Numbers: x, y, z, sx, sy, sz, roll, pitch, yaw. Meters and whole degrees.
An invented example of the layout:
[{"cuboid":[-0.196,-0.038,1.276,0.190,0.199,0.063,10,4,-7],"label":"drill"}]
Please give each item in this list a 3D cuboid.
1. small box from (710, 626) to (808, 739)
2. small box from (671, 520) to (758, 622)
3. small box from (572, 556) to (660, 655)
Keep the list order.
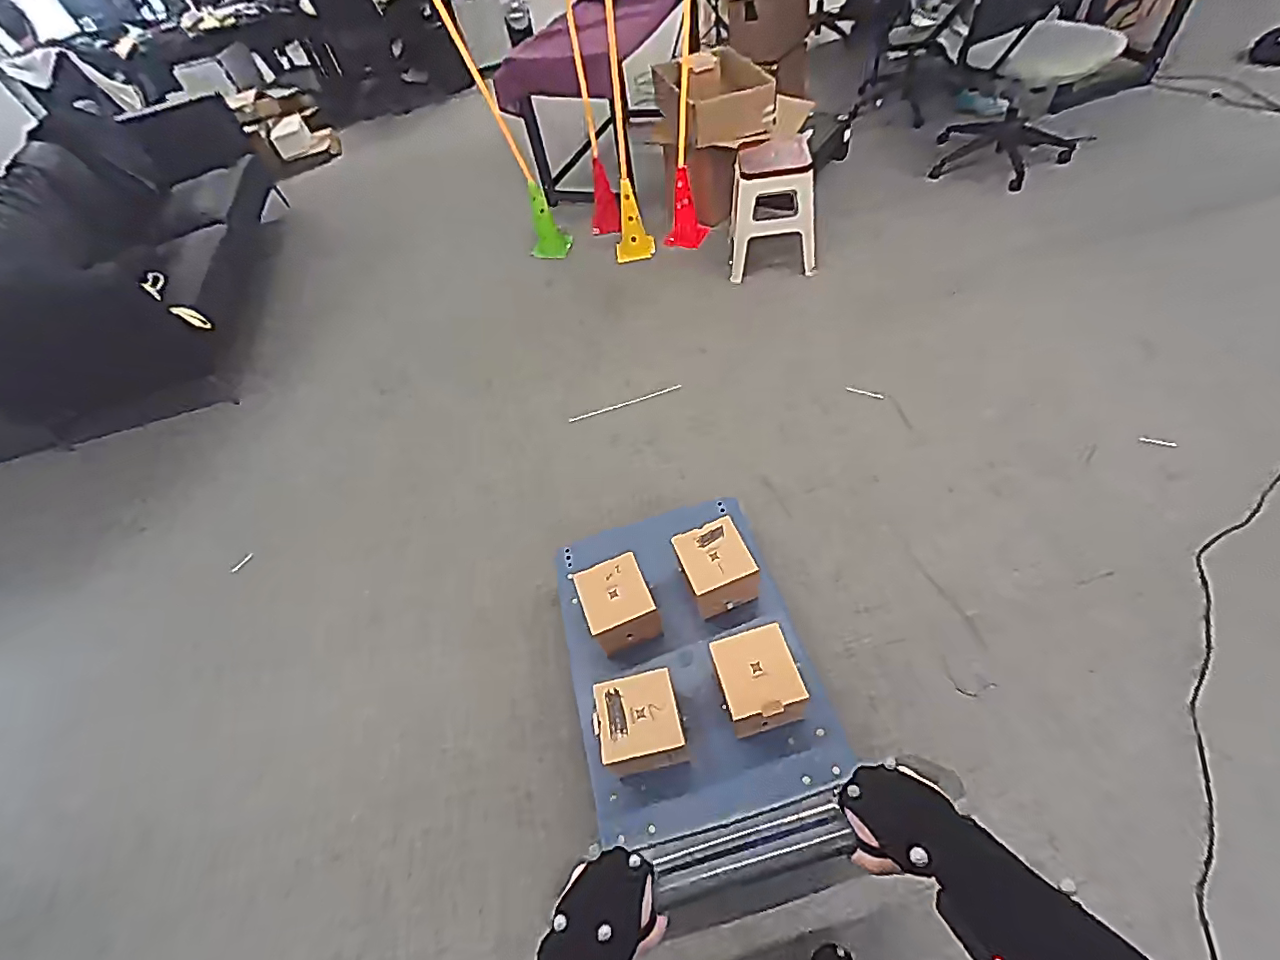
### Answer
[{"cuboid":[0.264,0.464,1.234,0.168,0.176,0.179,-17,53,-2],"label":"small box"},{"cuboid":[0.193,0.239,1.412,0.168,0.176,0.179,-21,53,-4],"label":"small box"},{"cuboid":[-0.056,0.331,1.392,0.168,0.176,0.179,-21,52,-6],"label":"small box"}]
